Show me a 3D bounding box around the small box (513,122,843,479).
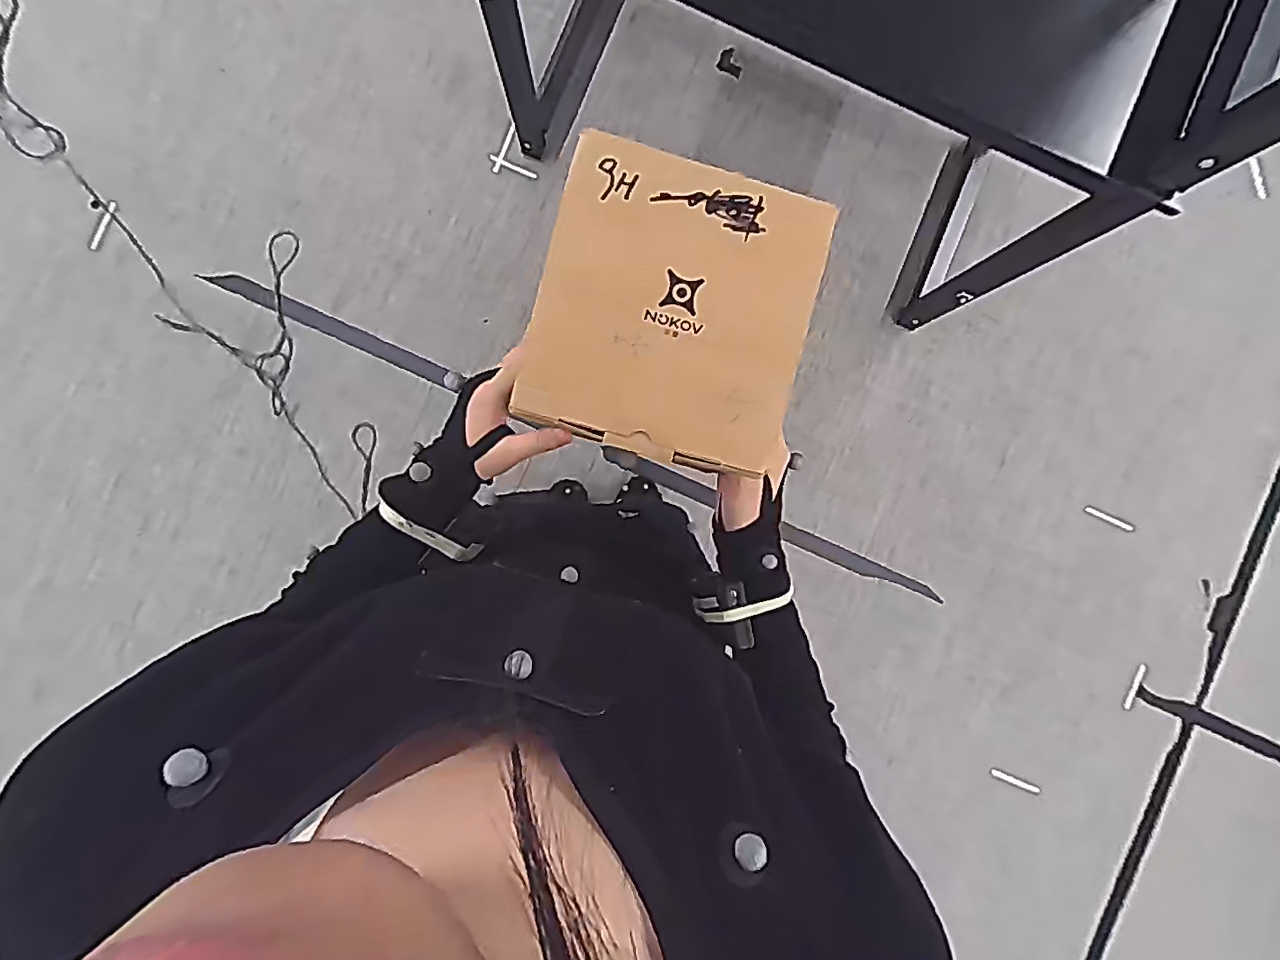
[{"bbox_3d":[0.017,-0.108,0.401,0.168,0.176,0.179,14,92,-6],"label":"small box"}]
